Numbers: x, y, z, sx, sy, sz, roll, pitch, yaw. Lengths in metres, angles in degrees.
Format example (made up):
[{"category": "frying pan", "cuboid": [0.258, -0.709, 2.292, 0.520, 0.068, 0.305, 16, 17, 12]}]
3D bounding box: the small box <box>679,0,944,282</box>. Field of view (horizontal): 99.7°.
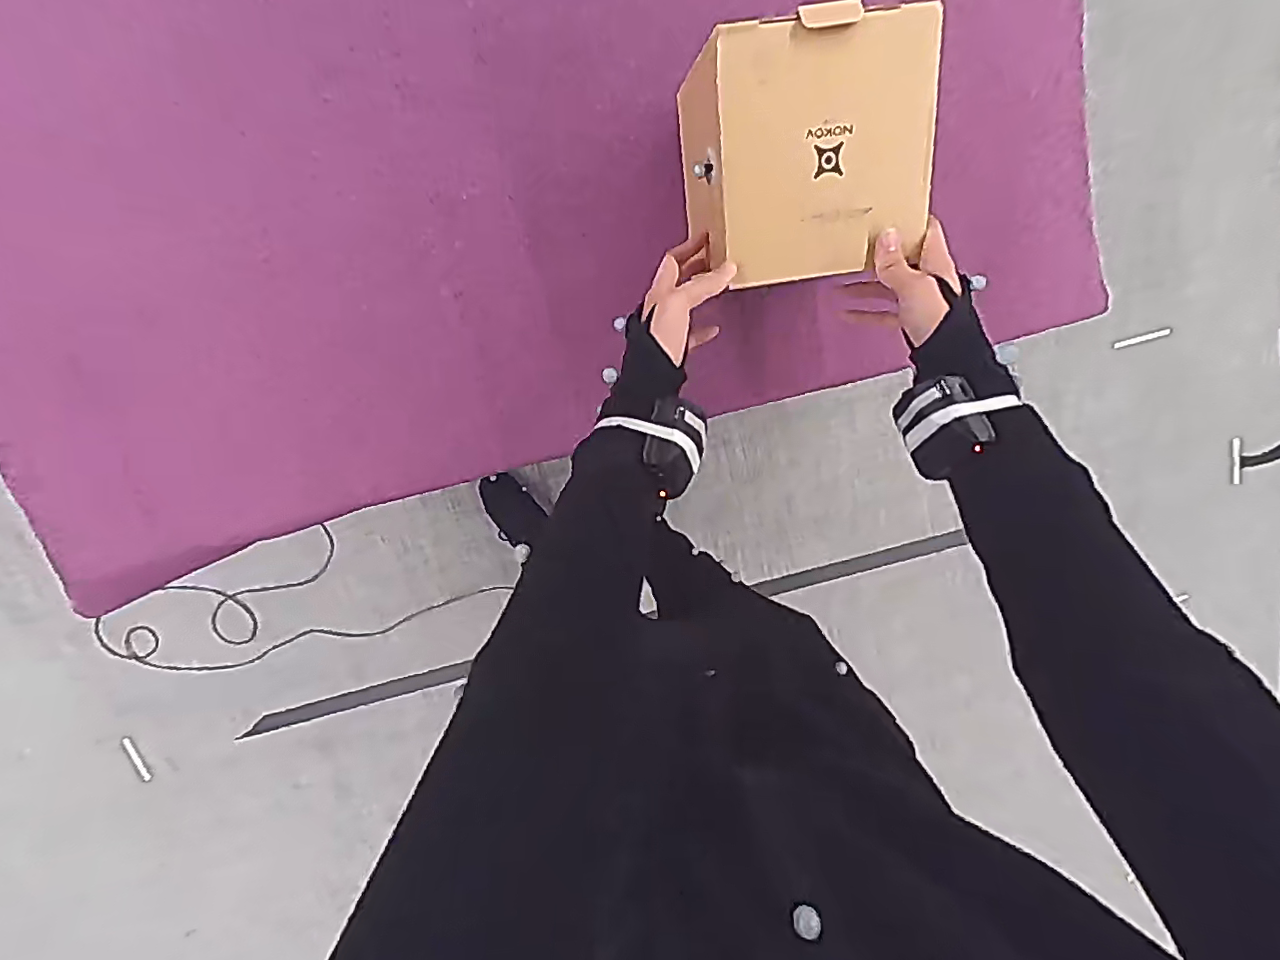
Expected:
[{"category": "small box", "cuboid": [0.131, -0.274, 0.474, 0.168, 0.176, 0.179, -7, 112, -2]}]
